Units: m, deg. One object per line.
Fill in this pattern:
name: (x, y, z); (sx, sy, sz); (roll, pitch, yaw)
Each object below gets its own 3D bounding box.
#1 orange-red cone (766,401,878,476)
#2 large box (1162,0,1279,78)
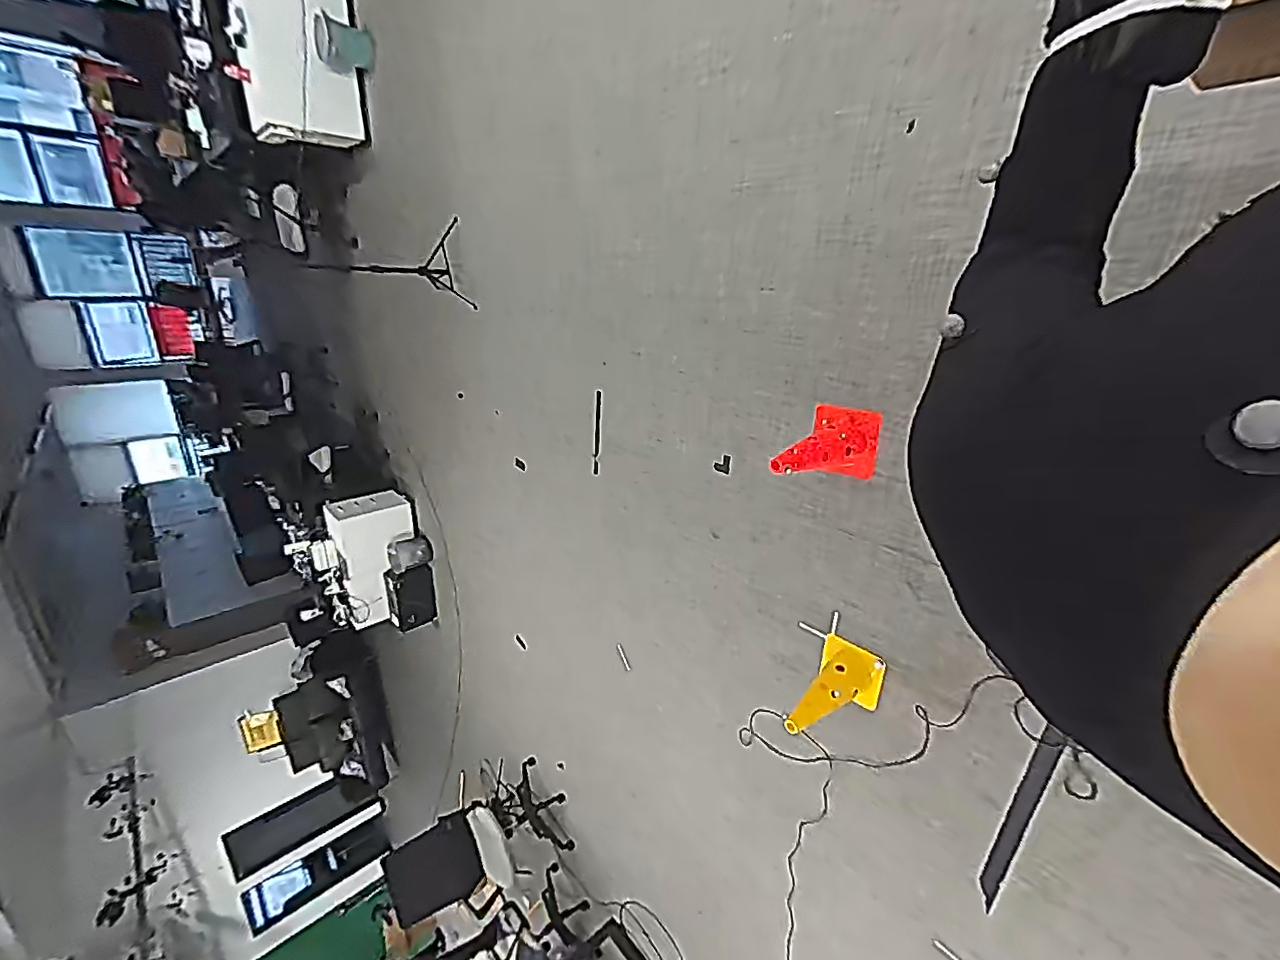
orange-red cone: (0.468, -0.084, 1.481); (0.198, 0.360, 0.199); (21, 120, 44)
large box: (0.574, -0.460, 0.264); (0.408, 0.320, 0.320); (18, 121, 44)
